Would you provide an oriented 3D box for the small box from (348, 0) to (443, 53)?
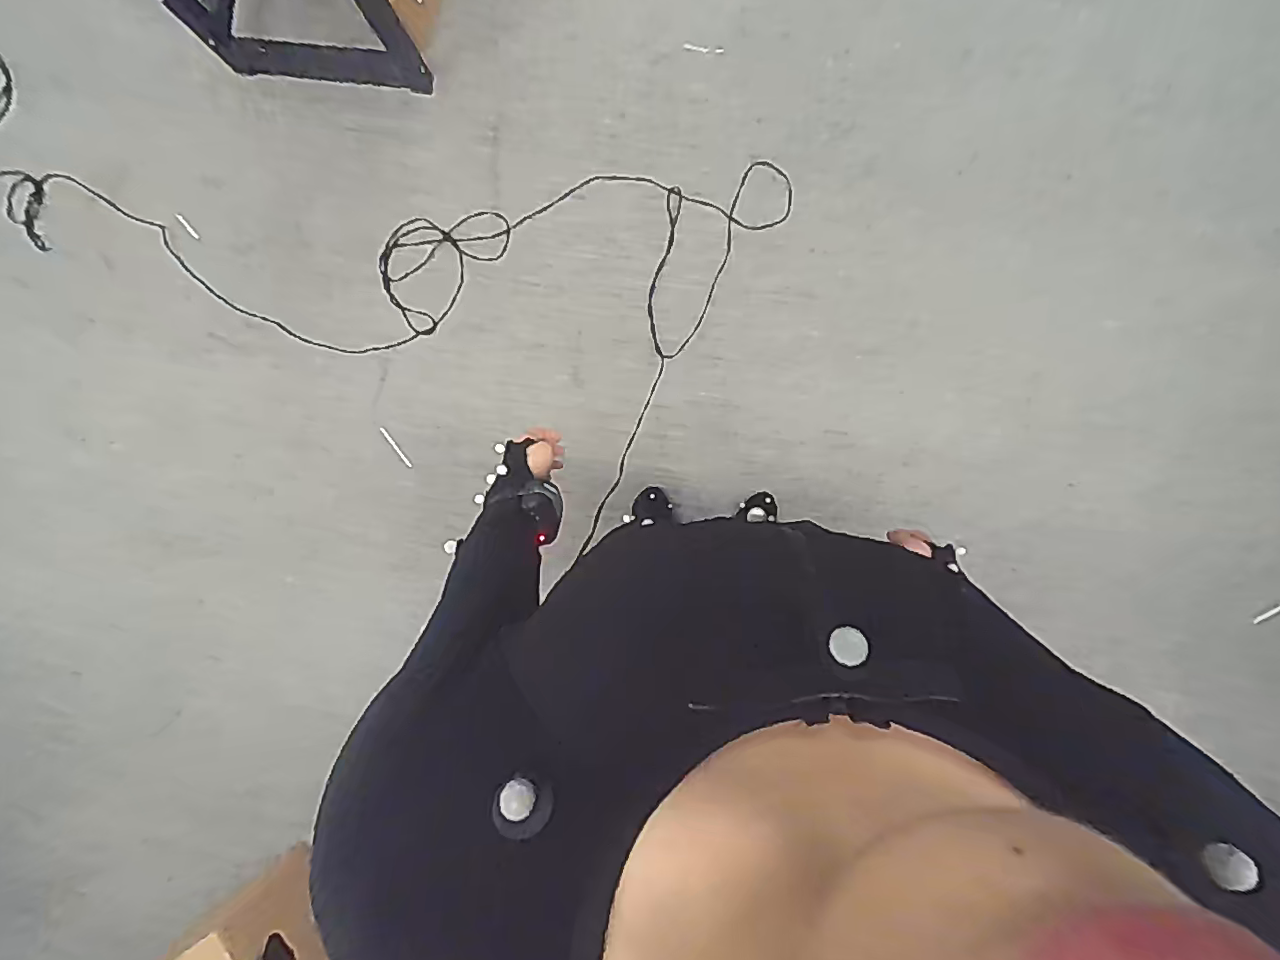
[{"bbox_3d":[-0.655,-1.302,1.445,0.168,0.176,0.179,20,92,2],"label":"small box"}]
